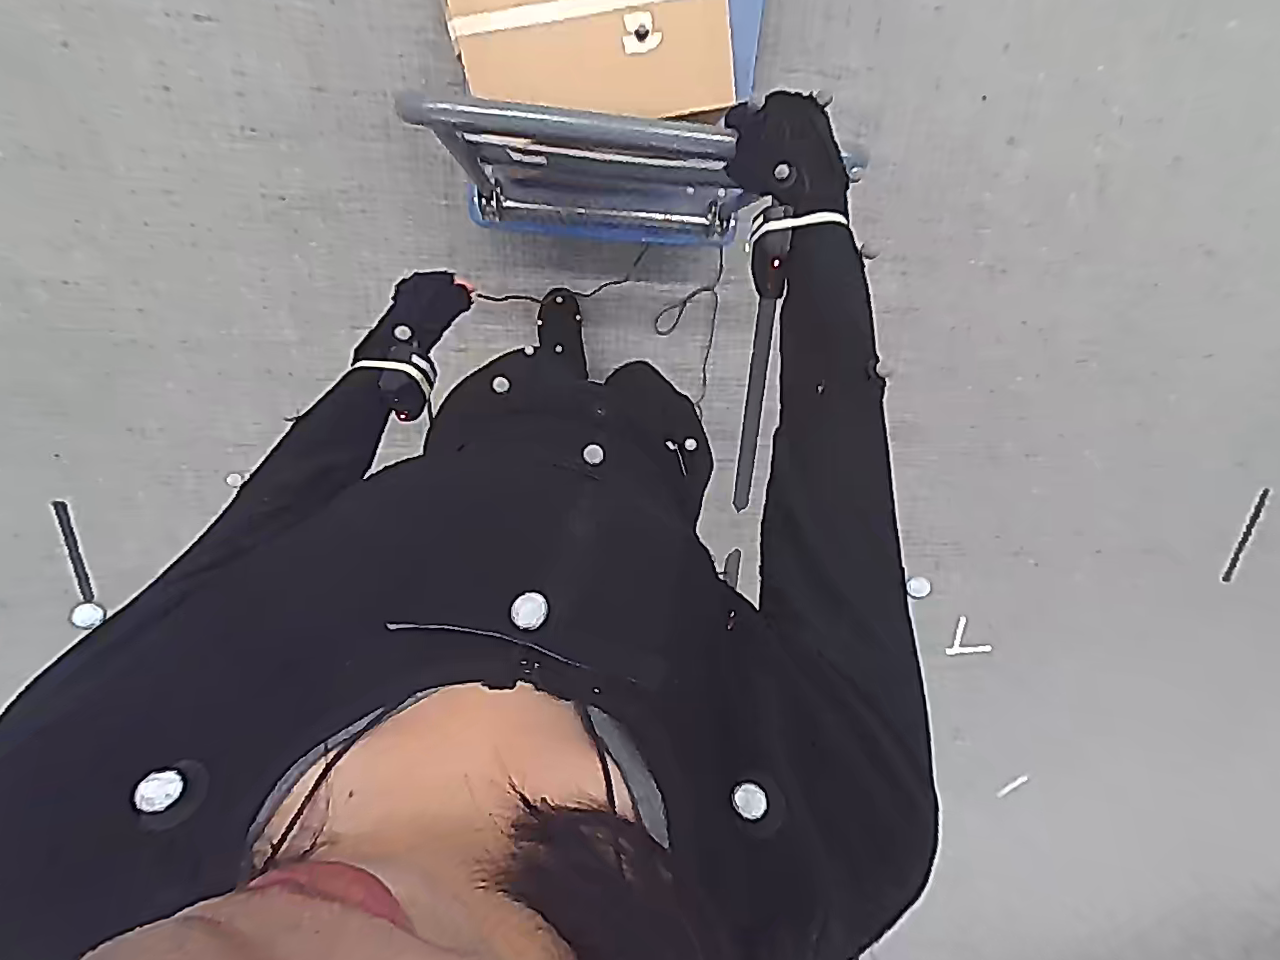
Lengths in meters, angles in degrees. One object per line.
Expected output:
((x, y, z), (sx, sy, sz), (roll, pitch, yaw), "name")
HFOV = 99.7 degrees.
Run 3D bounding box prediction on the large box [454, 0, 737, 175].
((-0.086, -0.755, 0.927), (0.408, 0.320, 0.320), (-12, 112, -3), "large box")
